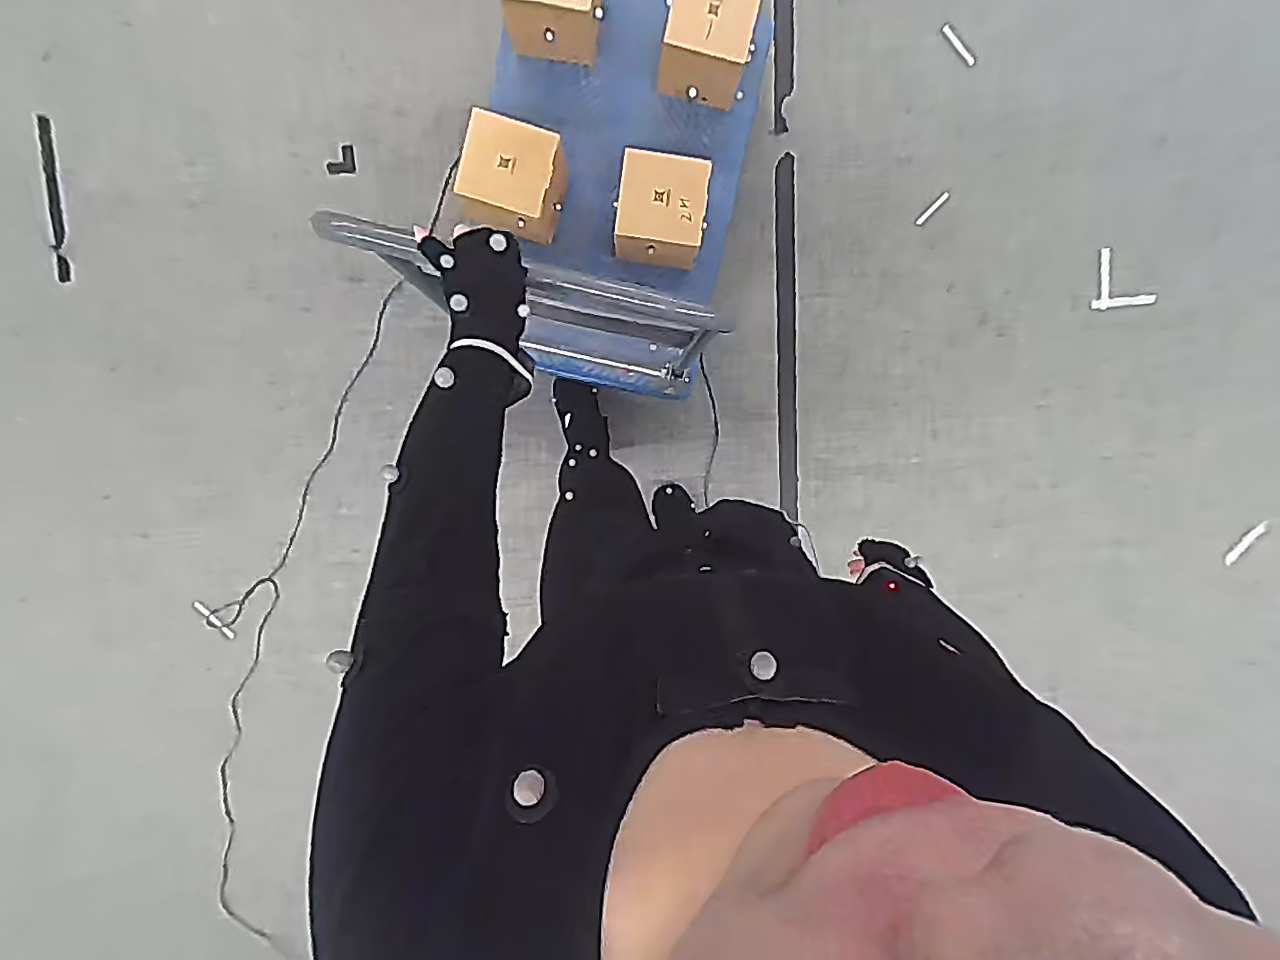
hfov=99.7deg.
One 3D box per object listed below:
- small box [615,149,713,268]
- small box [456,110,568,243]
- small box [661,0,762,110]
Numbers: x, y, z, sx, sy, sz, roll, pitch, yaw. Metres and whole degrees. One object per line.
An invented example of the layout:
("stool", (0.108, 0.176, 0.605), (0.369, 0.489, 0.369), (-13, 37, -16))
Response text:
("small box", (0.045, -0.562, 1.142), (0.179, 0.176, 0.168), (8, 96, -2))
("small box", (-0.258, -0.620, 1.128), (0.179, 0.176, 0.168), (15, 96, -5))
("small box", (0.142, -0.908, 1.105), (0.168, 0.176, 0.179), (13, 97, -3))
